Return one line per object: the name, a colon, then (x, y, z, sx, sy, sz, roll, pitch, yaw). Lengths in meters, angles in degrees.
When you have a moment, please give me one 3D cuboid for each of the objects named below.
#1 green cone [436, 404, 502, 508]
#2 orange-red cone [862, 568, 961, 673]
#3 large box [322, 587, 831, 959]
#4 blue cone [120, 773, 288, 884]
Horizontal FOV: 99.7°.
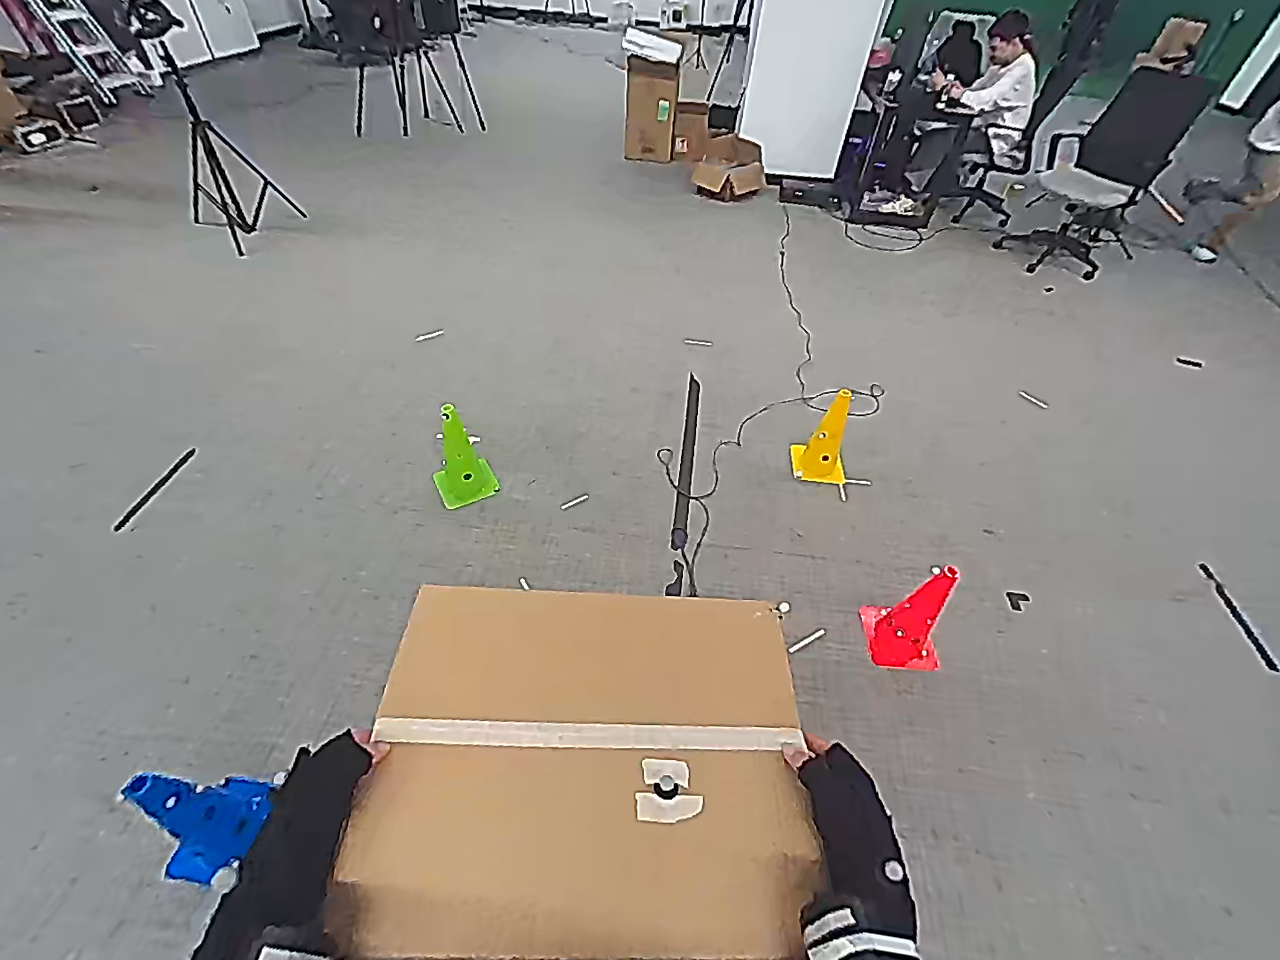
green cone: (-0.625, -0.112, 1.864, 0.202, 0.368, 0.200, -22, 51, -21)
orange-red cone: (0.797, 0.362, 1.519, 0.198, 0.360, 0.199, 6, 45, 0)
large box: (-0.059, 0.345, 0.624, 0.408, 0.320, 0.320, 4, 46, -4)
blue cone: (-0.916, 0.677, 1.107, 0.192, 0.380, 0.193, 9, 46, 6)
